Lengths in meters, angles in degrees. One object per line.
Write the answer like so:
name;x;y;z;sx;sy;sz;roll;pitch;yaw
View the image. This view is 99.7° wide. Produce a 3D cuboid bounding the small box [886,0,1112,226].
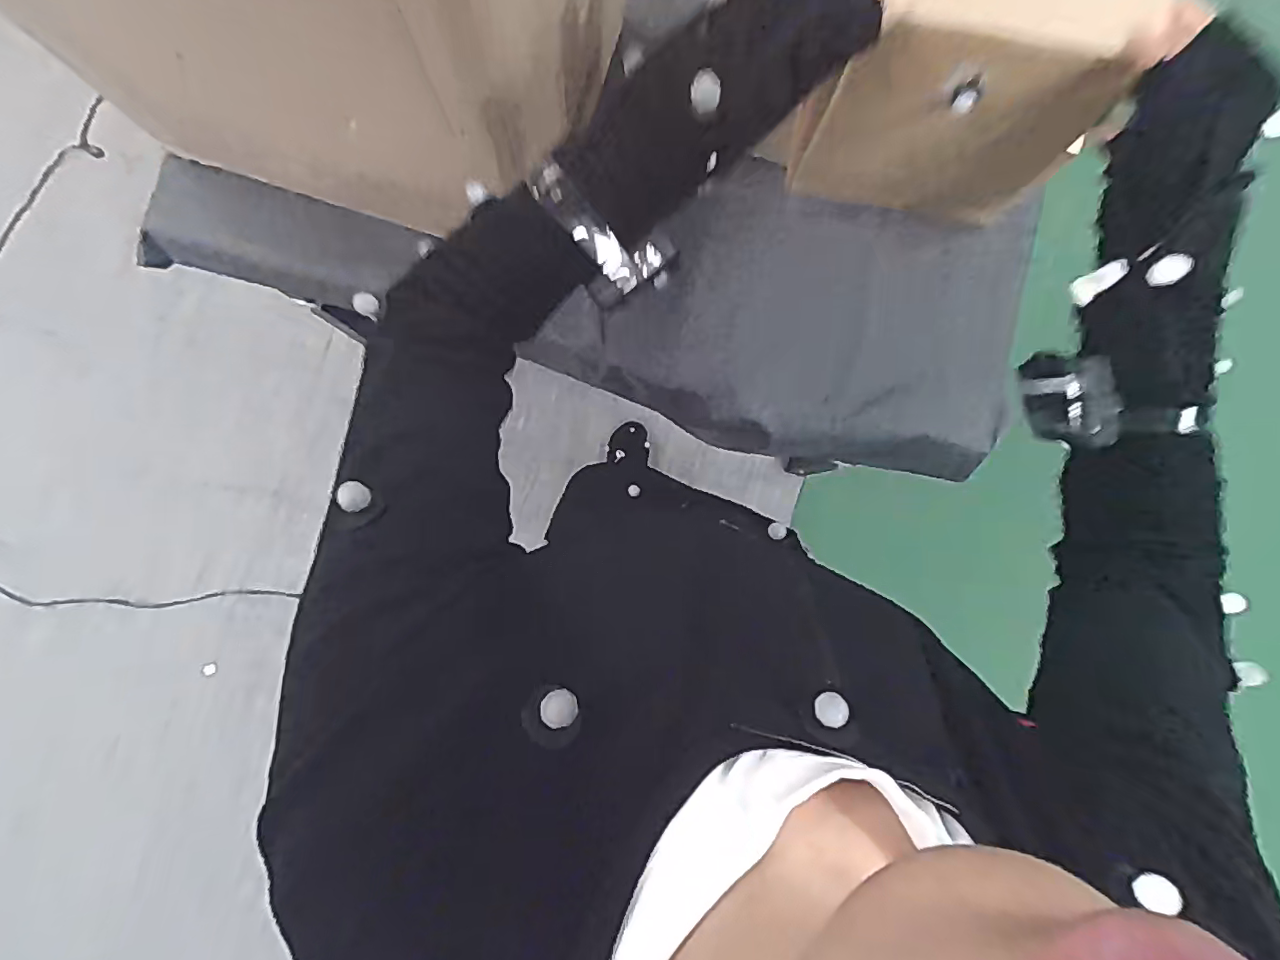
small box;0.457;-0.479;0.716;0.168;0.176;0.179;18;87;-1
